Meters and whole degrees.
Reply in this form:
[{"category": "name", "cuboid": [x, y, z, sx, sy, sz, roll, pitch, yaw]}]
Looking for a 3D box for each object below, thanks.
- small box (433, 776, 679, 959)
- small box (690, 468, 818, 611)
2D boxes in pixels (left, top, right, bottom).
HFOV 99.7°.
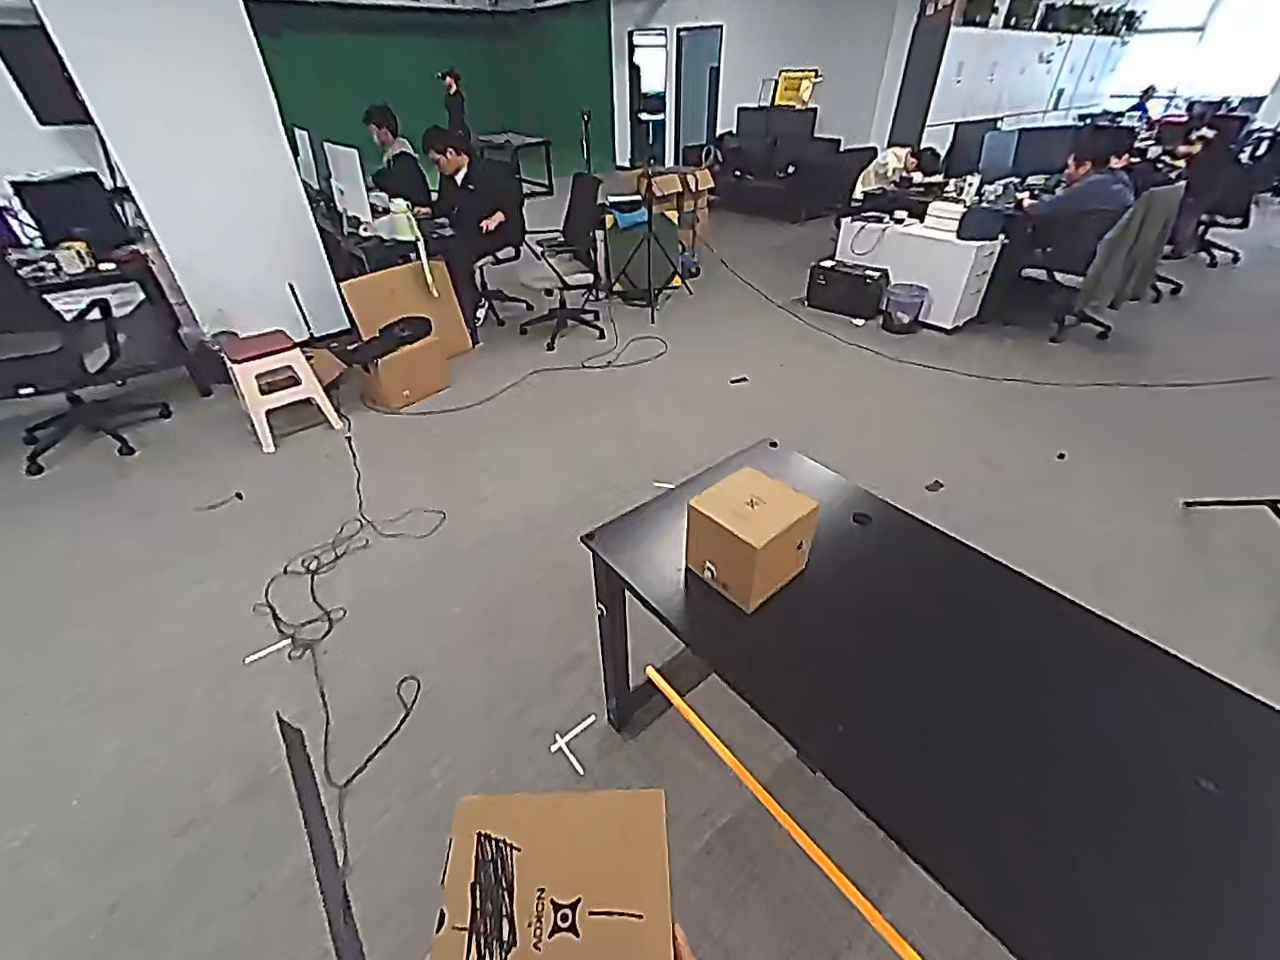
[{"category": "small box", "cuboid": [-0.060, 0.370, 0.458, 0.179, 0.176, 0.168, -1, 45, -2]}, {"category": "small box", "cuboid": [0.206, 0.110, 1.023, 0.179, 0.176, 0.168, -29, 44, -31]}]
